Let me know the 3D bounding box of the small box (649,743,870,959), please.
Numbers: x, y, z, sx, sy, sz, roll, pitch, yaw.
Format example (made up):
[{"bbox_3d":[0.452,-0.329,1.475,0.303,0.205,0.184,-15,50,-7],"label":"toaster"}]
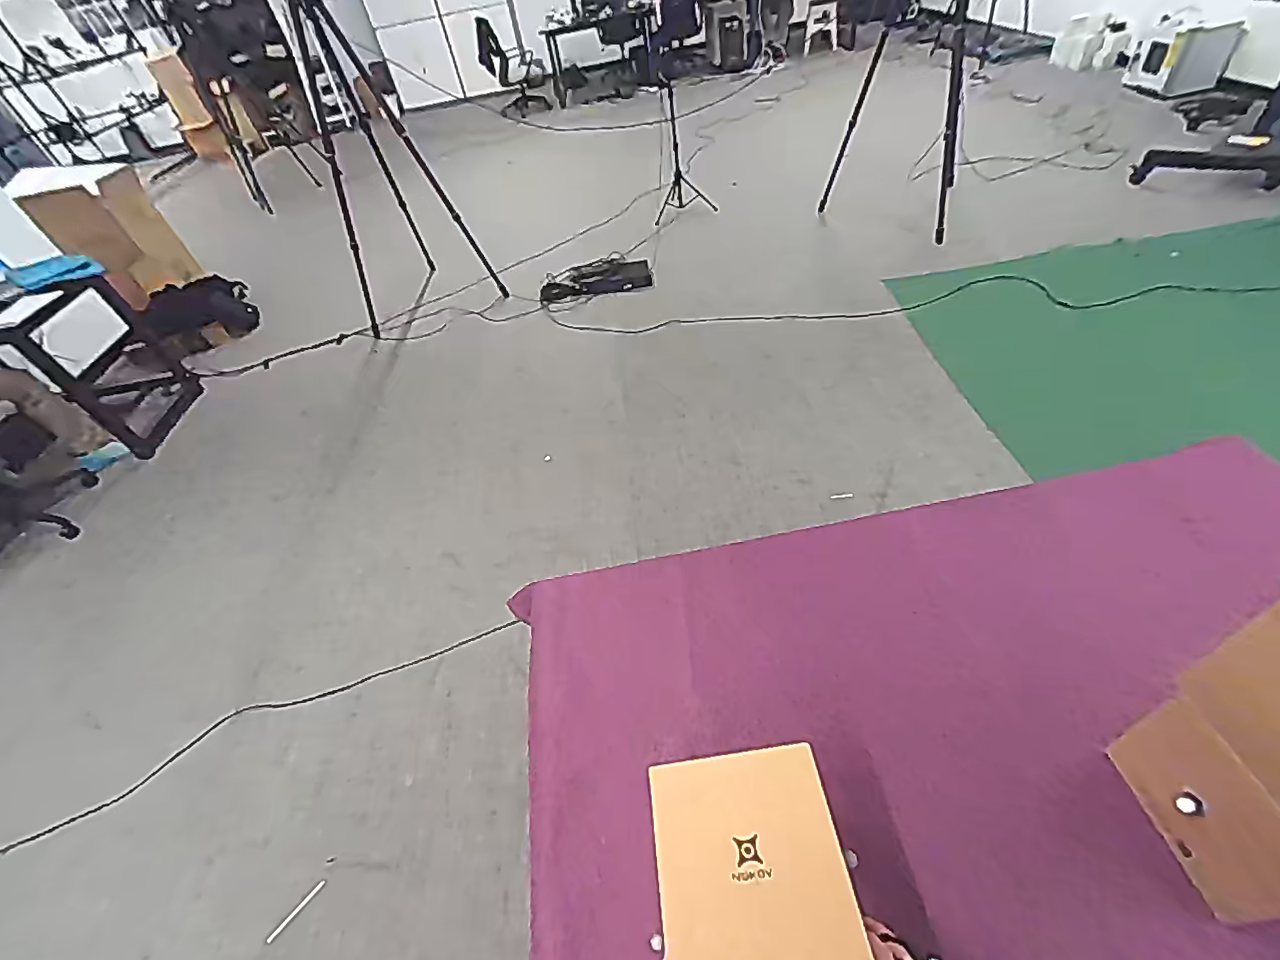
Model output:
[{"bbox_3d":[0.106,0.392,0.540,0.168,0.176,0.179,-10,46,2],"label":"small box"}]

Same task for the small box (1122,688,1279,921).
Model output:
[{"bbox_3d":[0.618,0.299,0.514,0.179,0.176,0.168,-10,45,3],"label":"small box"}]
